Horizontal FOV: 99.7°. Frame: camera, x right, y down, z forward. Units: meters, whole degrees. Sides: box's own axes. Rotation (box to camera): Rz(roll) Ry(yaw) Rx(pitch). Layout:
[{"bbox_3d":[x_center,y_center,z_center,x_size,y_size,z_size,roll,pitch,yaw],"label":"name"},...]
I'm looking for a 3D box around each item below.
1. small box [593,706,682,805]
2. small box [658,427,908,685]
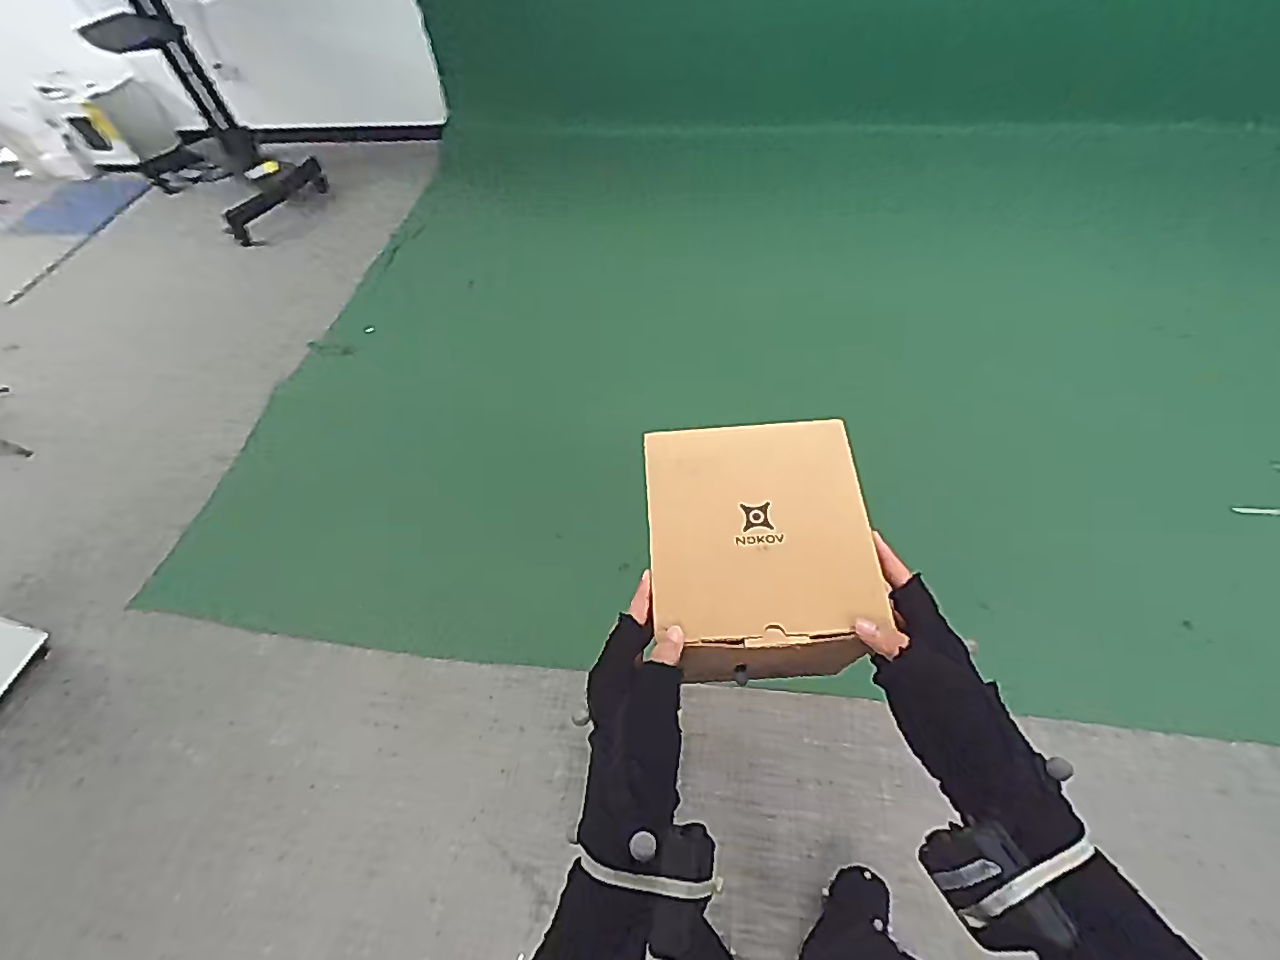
[{"bbox_3d":[0.002,0.634,1.237,0.179,0.176,0.168,4,54,8],"label":"small box"},{"bbox_3d":[0.102,0.074,0.477,0.168,0.176,0.179,-4,62,2],"label":"small box"}]
